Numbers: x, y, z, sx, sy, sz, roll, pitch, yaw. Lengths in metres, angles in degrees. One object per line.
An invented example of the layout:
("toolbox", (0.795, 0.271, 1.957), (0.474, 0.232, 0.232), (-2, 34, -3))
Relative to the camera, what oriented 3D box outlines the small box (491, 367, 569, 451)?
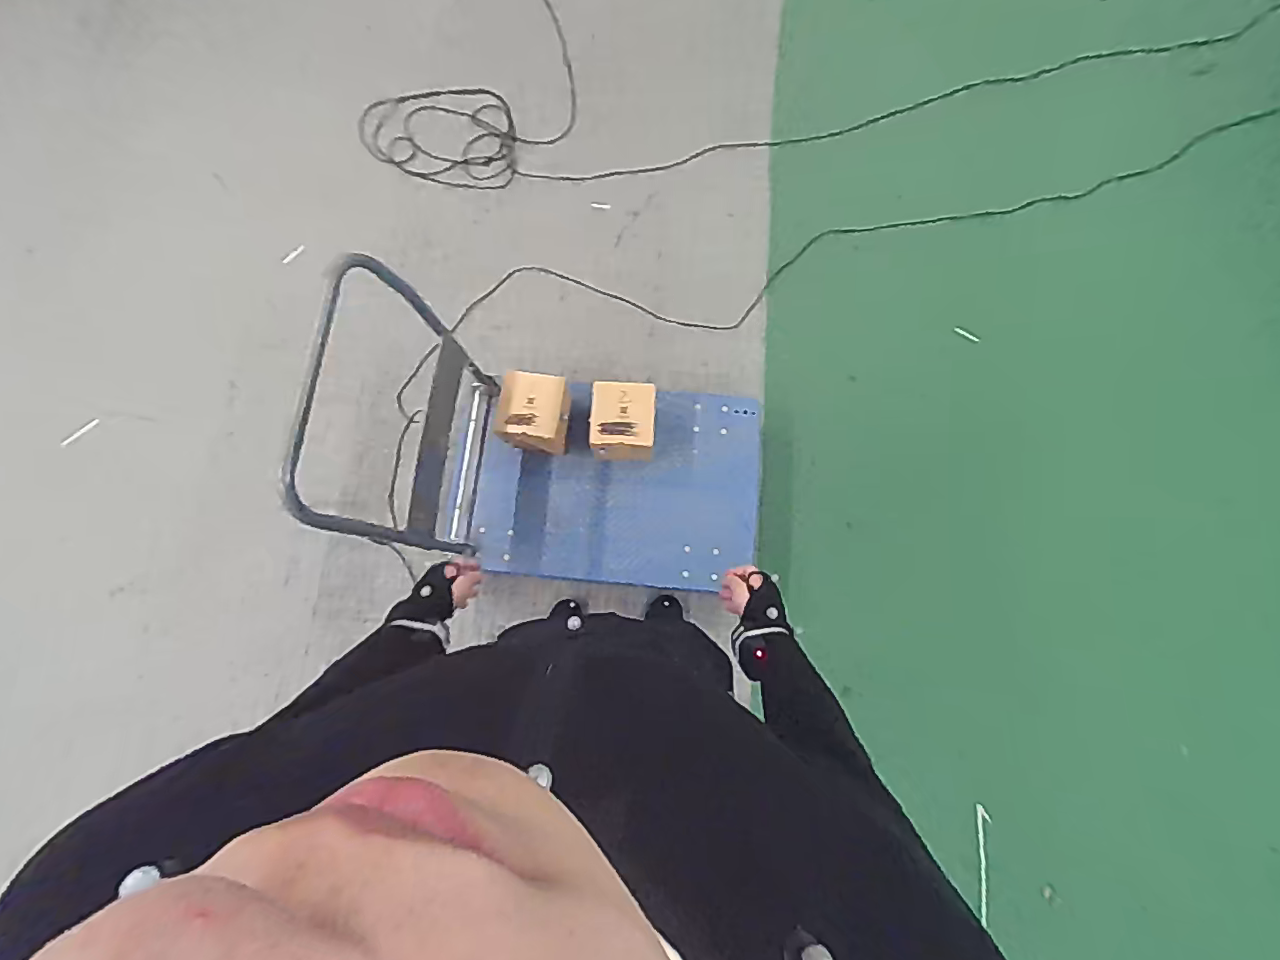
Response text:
("small box", (-0.295, -0.188, 1.492), (0.168, 0.176, 0.179), (8, 77, 1))
